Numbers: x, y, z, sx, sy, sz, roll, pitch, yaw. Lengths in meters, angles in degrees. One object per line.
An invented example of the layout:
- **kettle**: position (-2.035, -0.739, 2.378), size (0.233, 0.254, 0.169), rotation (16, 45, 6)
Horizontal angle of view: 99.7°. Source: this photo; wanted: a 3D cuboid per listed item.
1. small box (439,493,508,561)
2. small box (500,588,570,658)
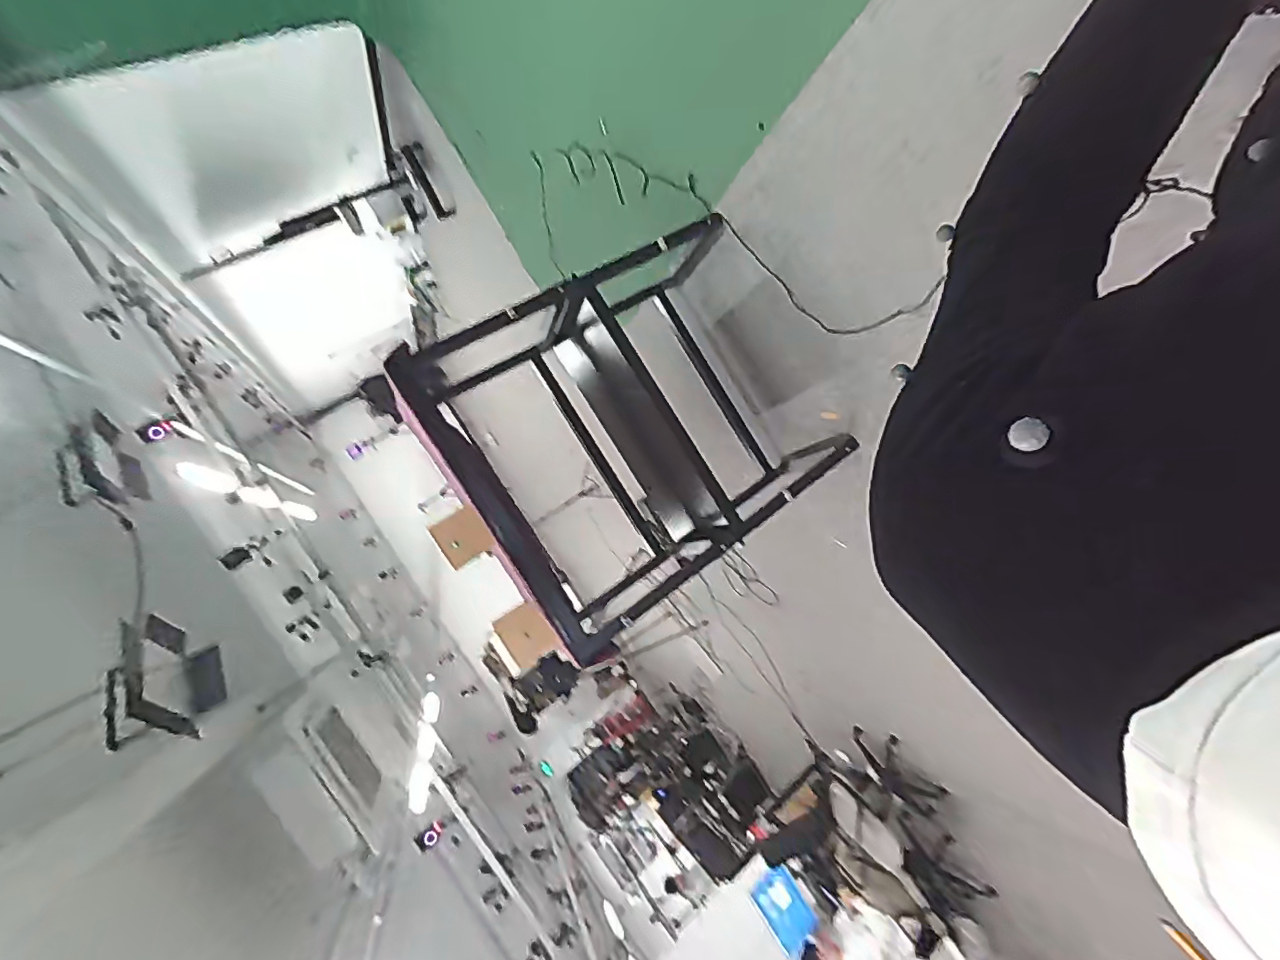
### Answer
- **small box**: position (-0.580, 0.165, 1.893), size (0.179, 0.176, 0.168), rotation (58, 161, -4)
- **small box**: position (-0.372, 0.497, 1.910), size (0.179, 0.176, 0.168), rotation (57, 162, -2)
